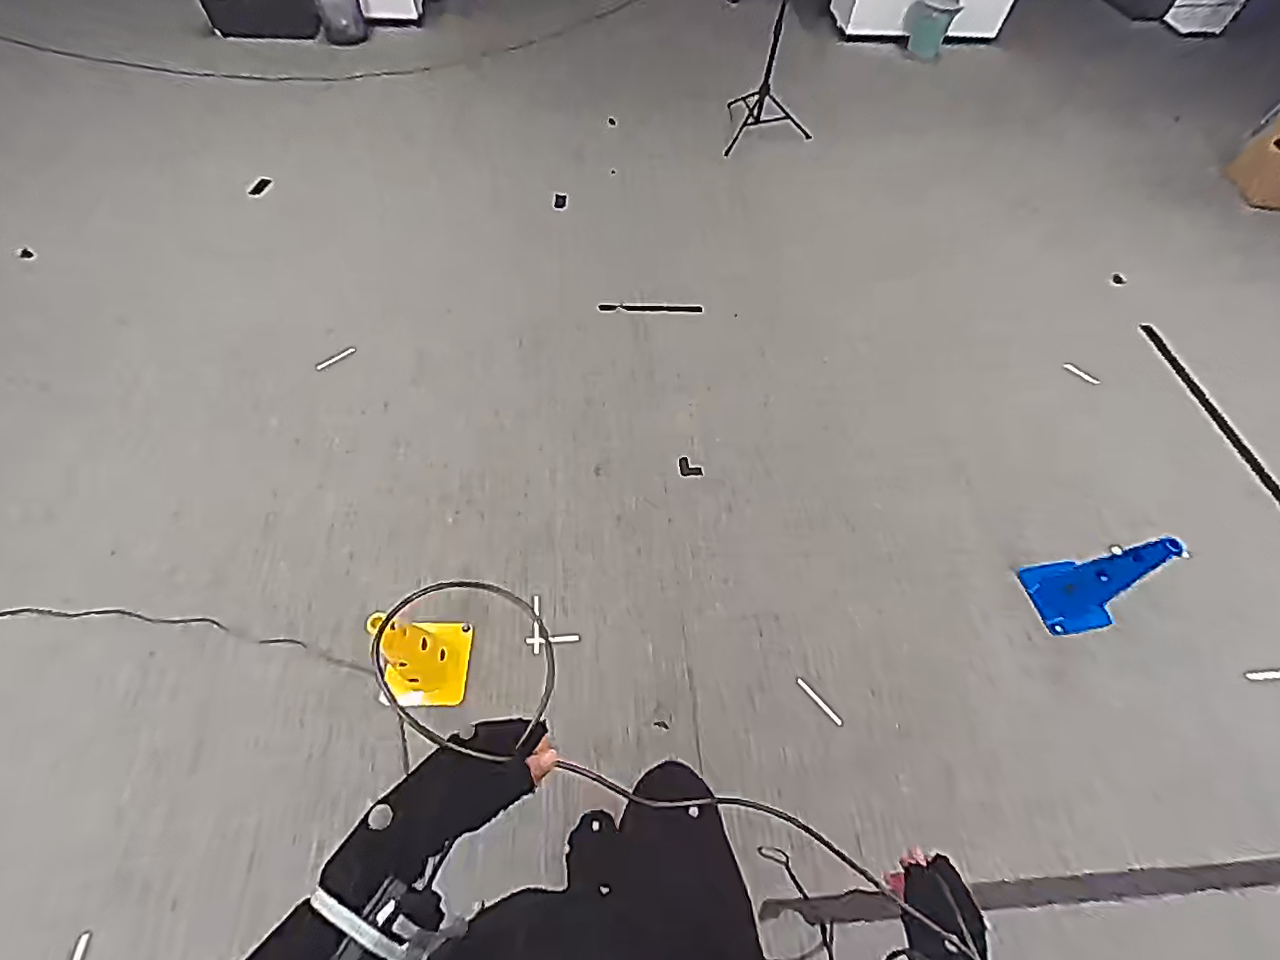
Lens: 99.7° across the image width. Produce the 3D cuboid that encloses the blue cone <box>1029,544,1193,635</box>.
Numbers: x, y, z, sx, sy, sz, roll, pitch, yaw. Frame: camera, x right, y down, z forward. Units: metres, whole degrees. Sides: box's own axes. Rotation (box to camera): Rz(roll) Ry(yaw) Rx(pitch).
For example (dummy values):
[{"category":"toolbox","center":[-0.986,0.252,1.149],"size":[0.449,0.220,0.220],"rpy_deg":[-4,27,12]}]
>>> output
[{"category":"blue cone","center":[1.224,0.249,1.386],"size":[0.193,0.380,0.192],"rpy_deg":[-6,60,-7]}]
